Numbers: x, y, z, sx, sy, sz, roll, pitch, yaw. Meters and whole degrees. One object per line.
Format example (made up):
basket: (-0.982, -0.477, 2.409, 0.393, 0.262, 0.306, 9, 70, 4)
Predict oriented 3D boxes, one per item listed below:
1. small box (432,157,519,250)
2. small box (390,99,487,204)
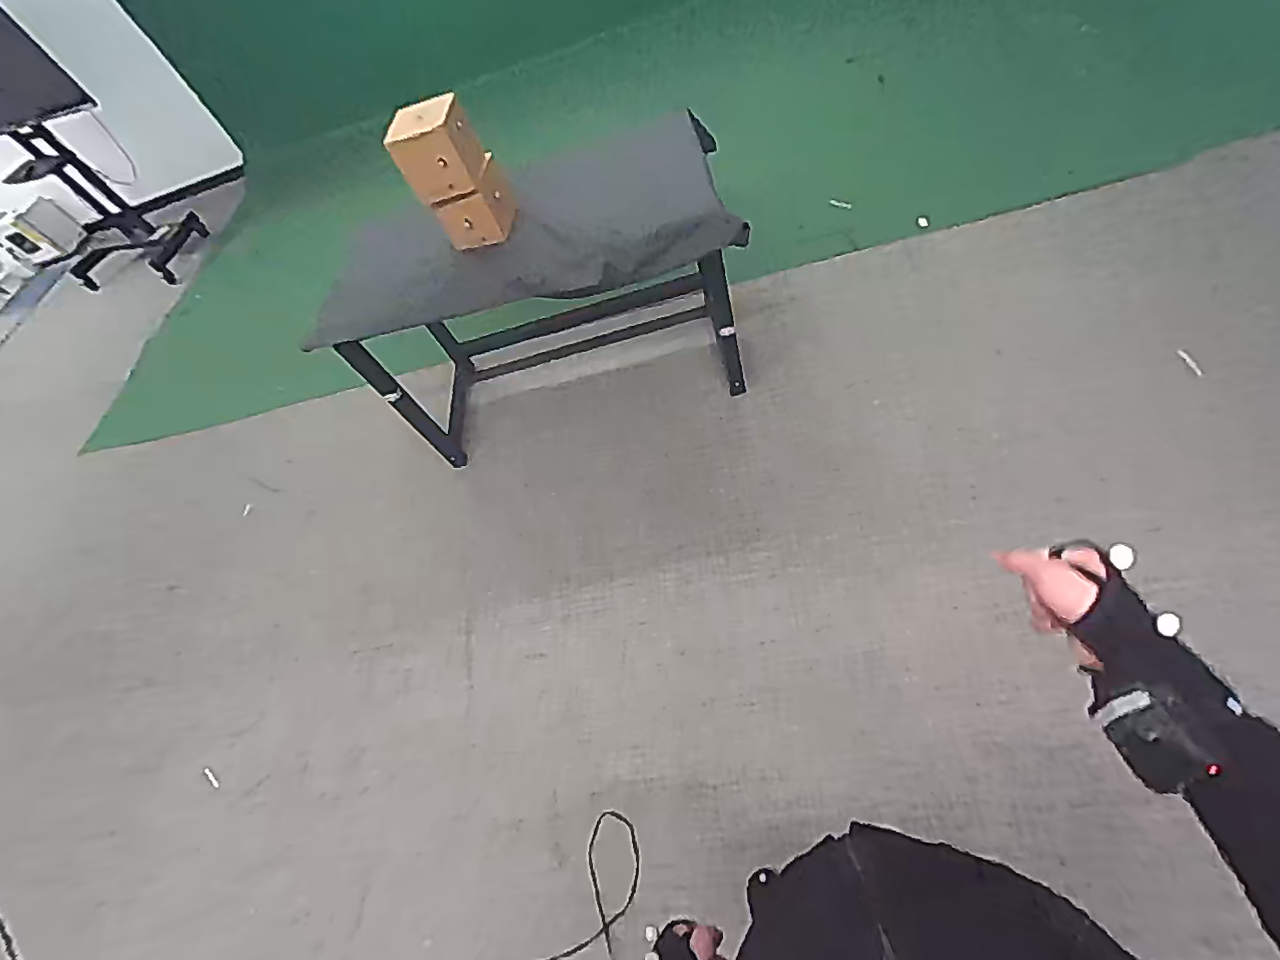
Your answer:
small box: (-0.470, -0.794, 1.575, 0.168, 0.176, 0.179, -4, 58, 15)
small box: (-0.523, -0.858, 1.432, 0.168, 0.176, 0.179, -9, 56, 11)
